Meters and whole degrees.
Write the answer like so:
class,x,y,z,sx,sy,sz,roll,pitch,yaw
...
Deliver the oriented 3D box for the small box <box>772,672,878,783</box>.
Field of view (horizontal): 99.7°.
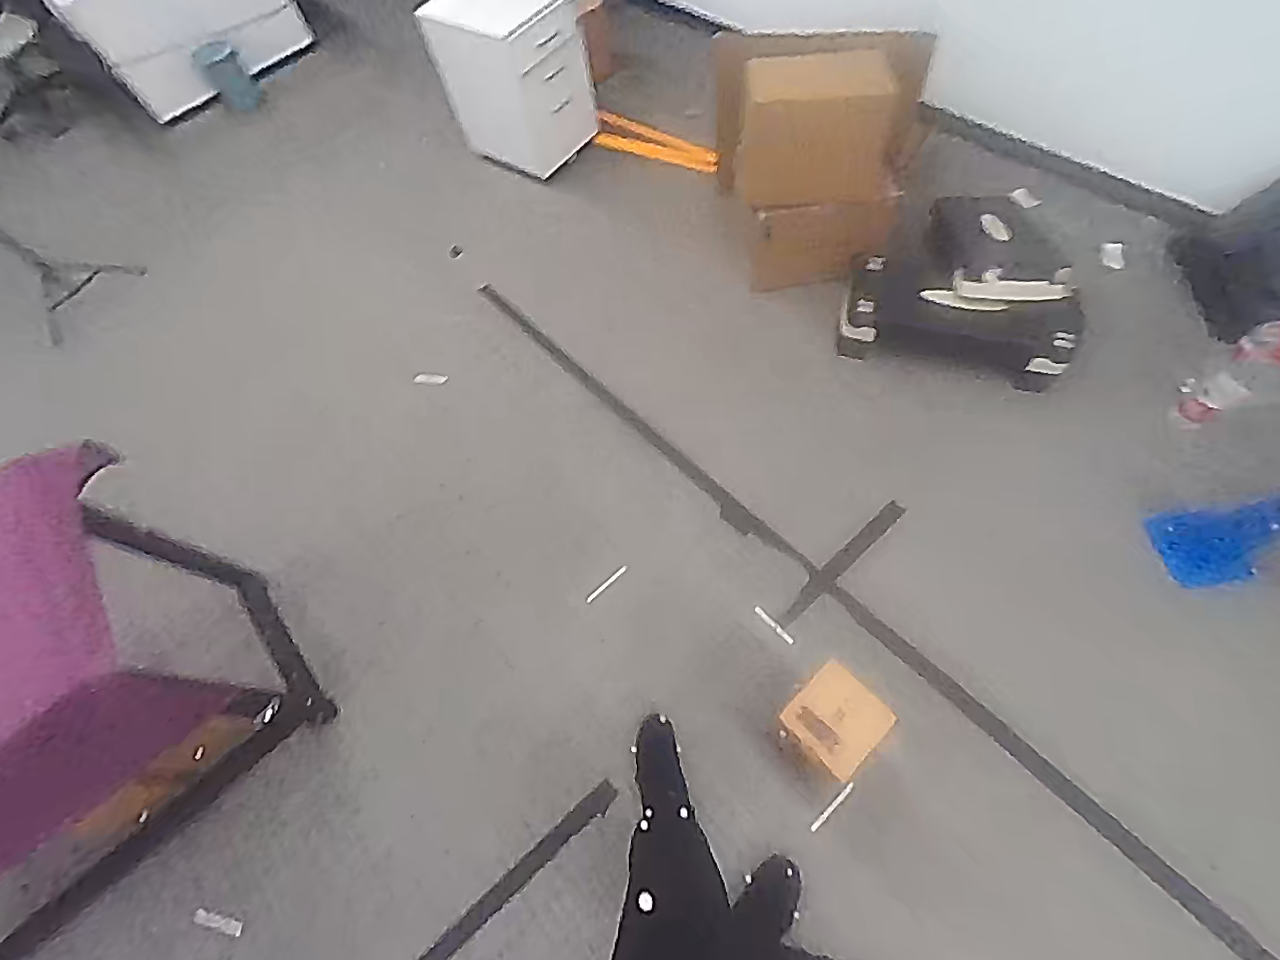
class,x,y,z,sx,sy,sz,roll,pitch,yaw
small box,0.435,0.595,1.307,0.179,0.176,0.168,-44,66,-13
